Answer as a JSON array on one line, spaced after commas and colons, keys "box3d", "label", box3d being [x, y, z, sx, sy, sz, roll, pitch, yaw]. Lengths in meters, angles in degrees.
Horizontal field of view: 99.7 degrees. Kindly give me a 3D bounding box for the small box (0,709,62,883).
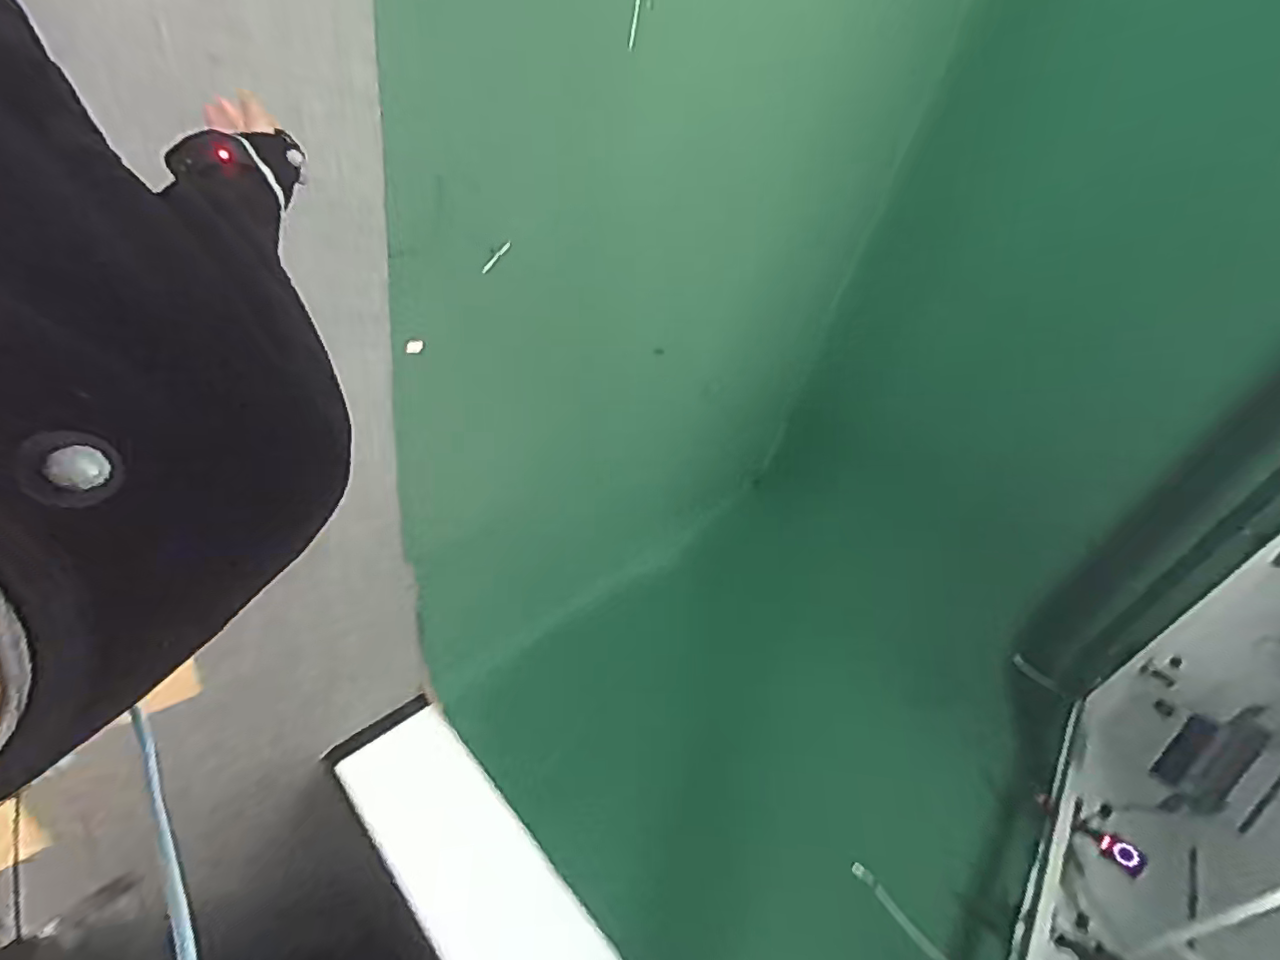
[{"box3d": [-0.945, 0.457, 0.732, 0.179, 0.176, 0.168, -23, 139, -43], "label": "small box"}]
